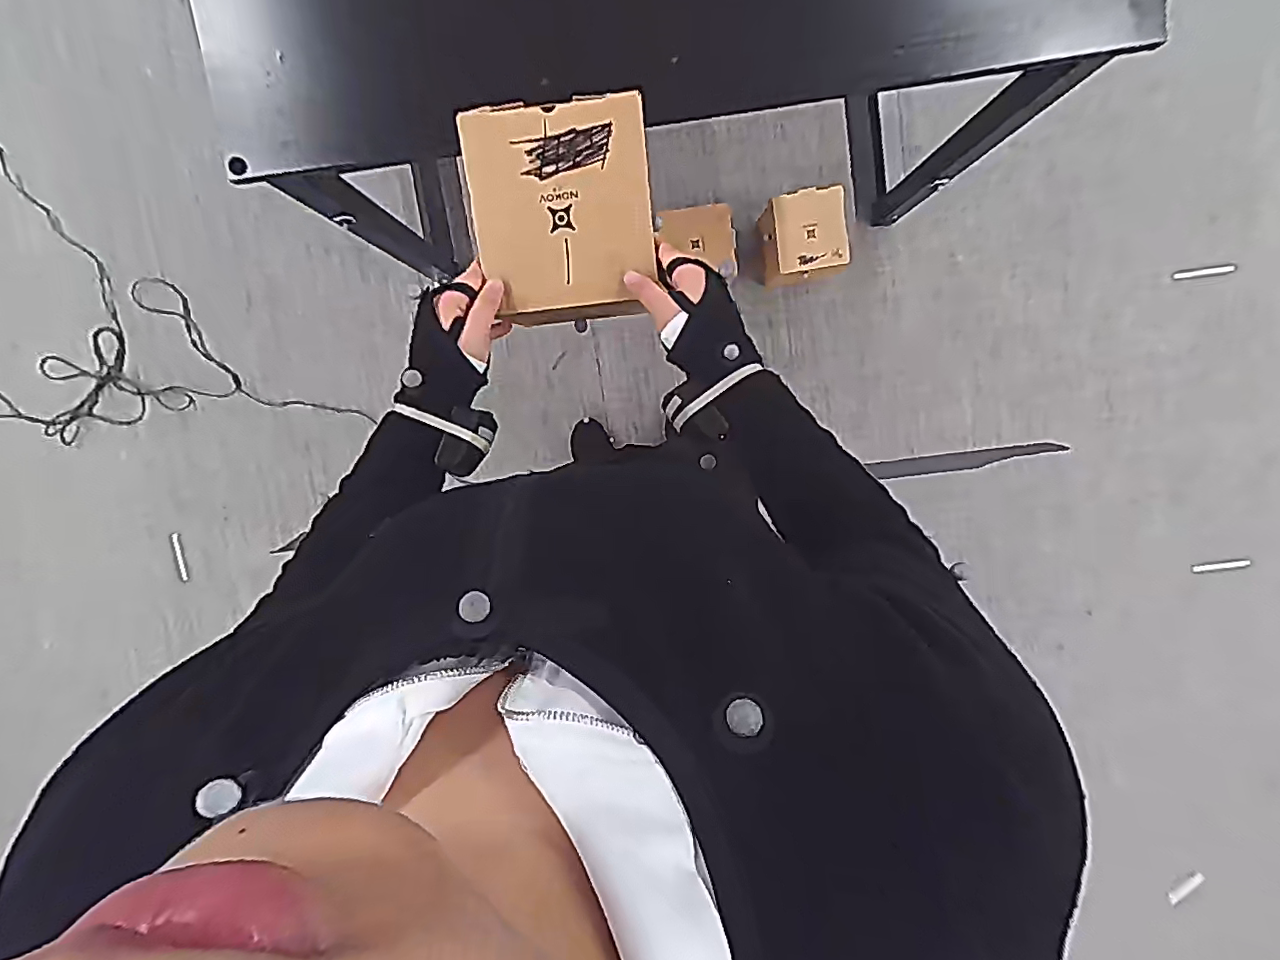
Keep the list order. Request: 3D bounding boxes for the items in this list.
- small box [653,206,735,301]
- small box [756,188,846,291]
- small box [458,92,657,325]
[{"bbox_3d":[0.129,-0.554,1.339,0.179,0.176,0.168,-8,96,3],"label":"small box"},{"bbox_3d":[0.390,-0.583,1.330,0.168,0.176,0.179,-8,97,2],"label":"small box"},{"bbox_3d":[-0.075,-0.266,0.571,0.168,0.176,0.179,-6,103,1],"label":"small box"}]
